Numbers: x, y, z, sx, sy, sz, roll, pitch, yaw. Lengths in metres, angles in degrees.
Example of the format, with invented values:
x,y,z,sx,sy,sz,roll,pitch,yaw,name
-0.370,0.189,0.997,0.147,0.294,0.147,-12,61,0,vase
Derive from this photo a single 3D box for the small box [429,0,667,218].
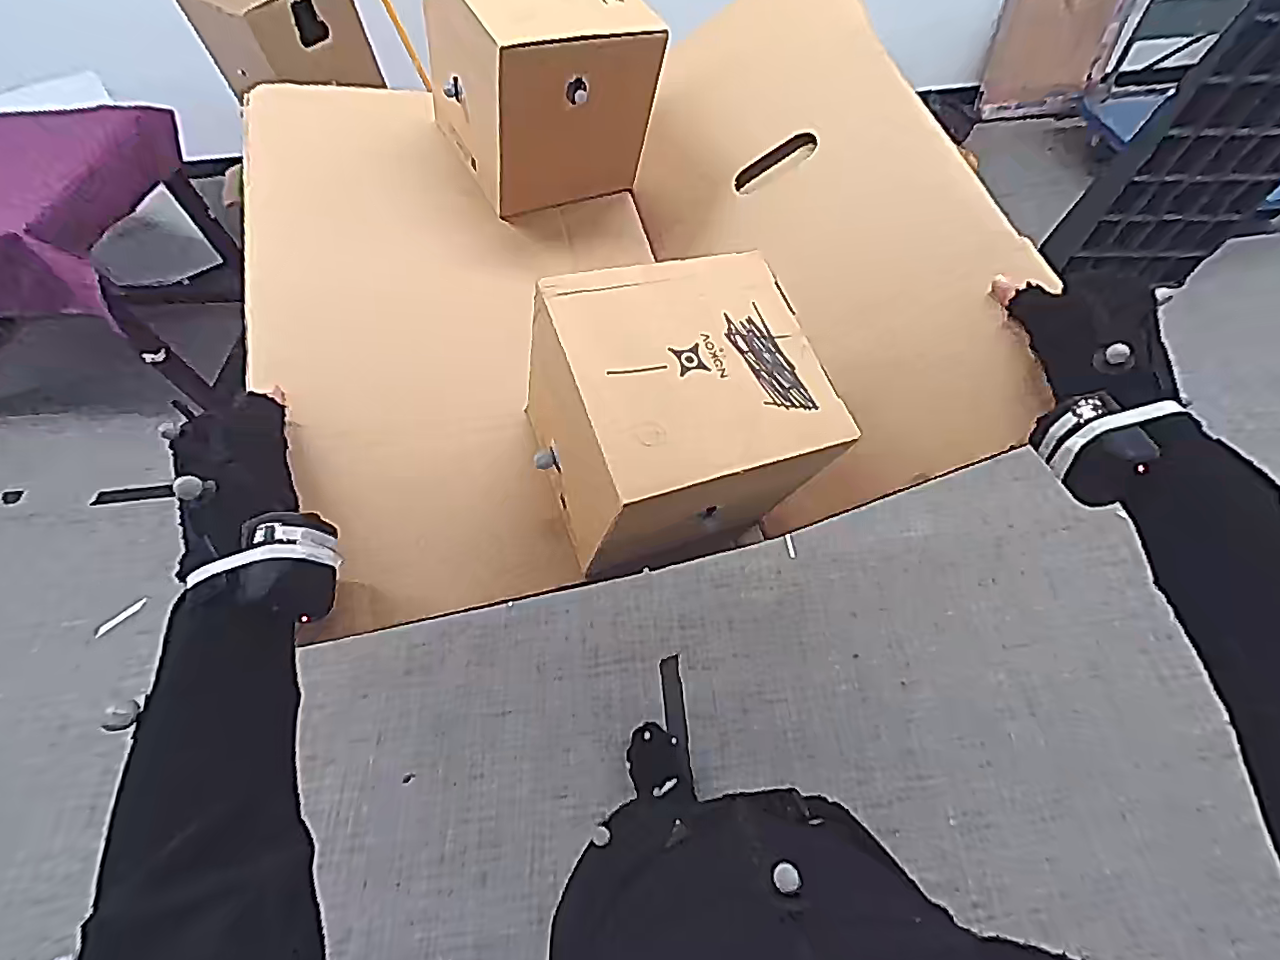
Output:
x,y,z,sx,sy,sz,roll,pitch,yaw,name
-0.101,-0.408,0.570,0.179,0.176,0.168,-25,74,-23,small box
